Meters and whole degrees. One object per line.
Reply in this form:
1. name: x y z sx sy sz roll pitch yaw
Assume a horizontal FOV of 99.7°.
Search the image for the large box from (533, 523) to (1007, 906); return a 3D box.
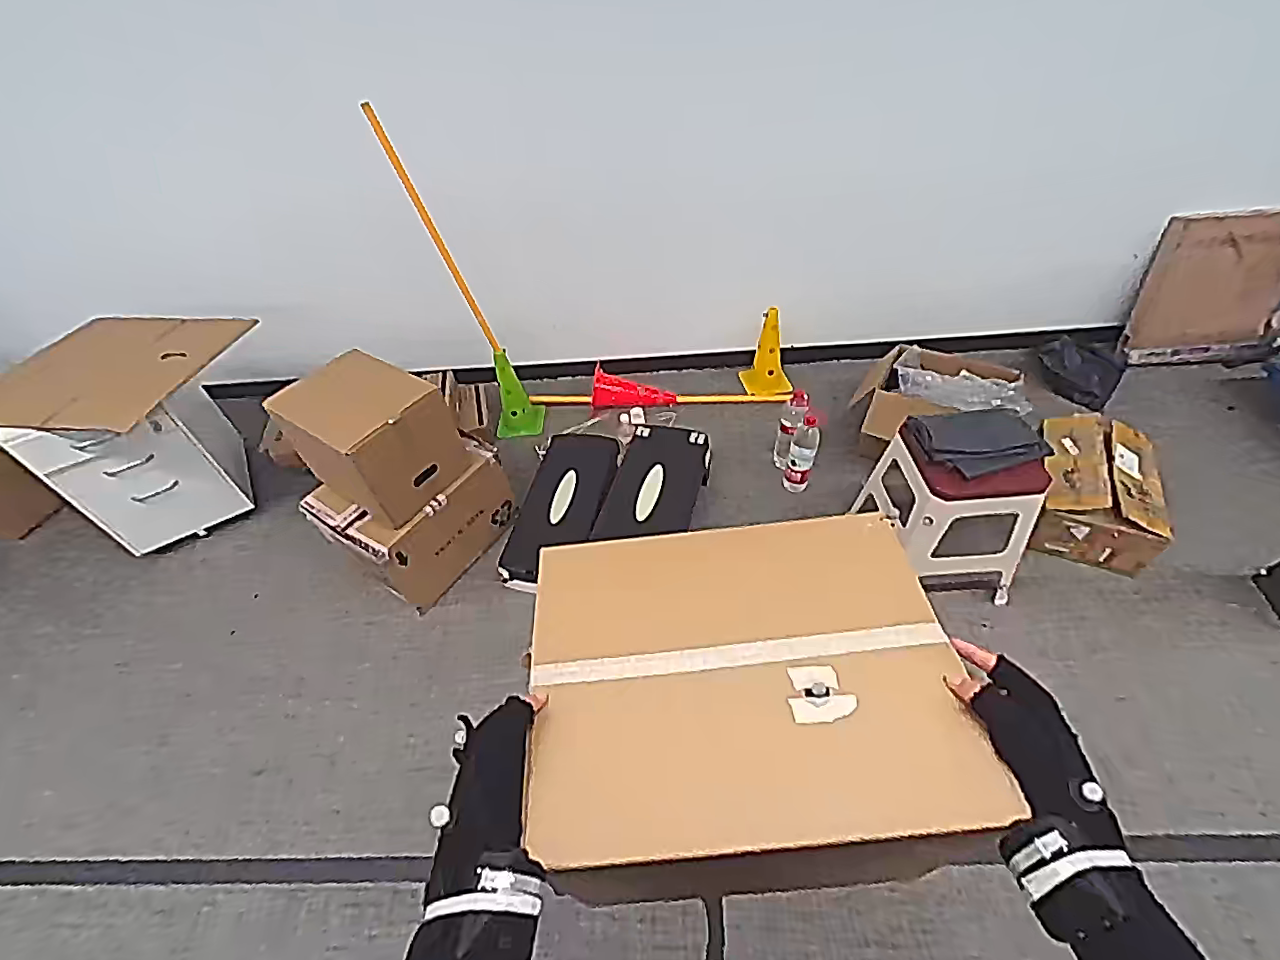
1. large box: 0.107 0.285 0.652 0.408 0.320 0.320 -6 48 1
